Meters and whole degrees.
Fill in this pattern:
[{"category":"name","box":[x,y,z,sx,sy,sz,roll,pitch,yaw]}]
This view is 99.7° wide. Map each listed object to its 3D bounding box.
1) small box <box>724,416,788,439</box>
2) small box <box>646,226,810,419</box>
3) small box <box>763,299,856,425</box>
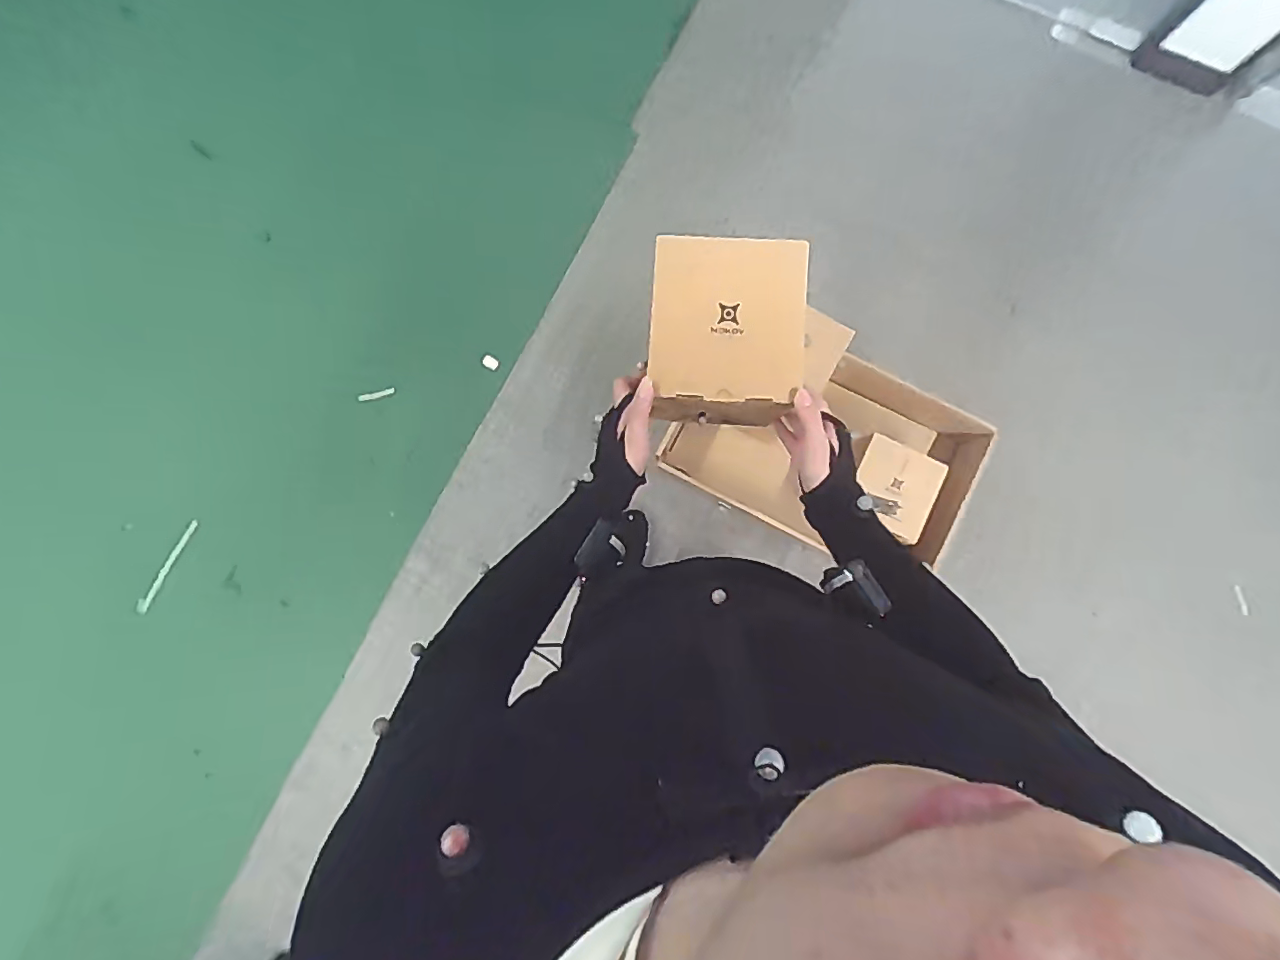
[{"category":"small box","box":[0.269,-0.211,1.184,0.168,0.176,0.179,29,85,3]},{"category":"small box","box":[0.094,-0.176,0.649,0.168,0.176,0.179,3,89,0]},{"category":"small box","box":[0.267,-0.228,1.021,0.168,0.176,0.179,31,86,4]}]
